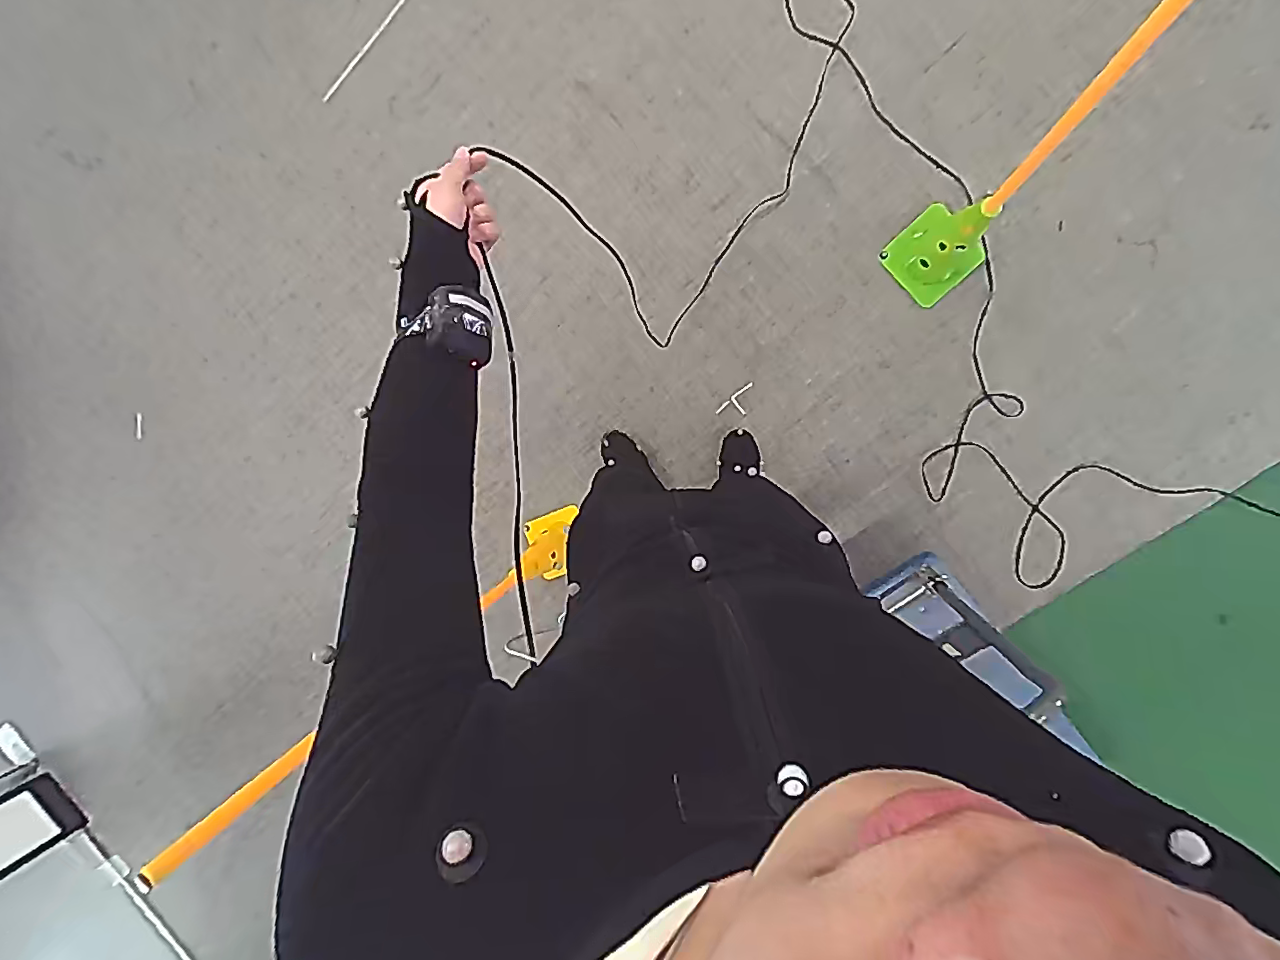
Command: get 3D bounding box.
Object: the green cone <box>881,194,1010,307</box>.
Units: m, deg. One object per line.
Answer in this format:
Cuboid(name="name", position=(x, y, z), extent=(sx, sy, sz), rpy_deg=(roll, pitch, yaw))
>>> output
Cuboid(name="green cone", position=(0.737, -0.563, 1.244), extent=(0.202, 0.368, 0.200), rpy_deg=(-43, 89, 11))
